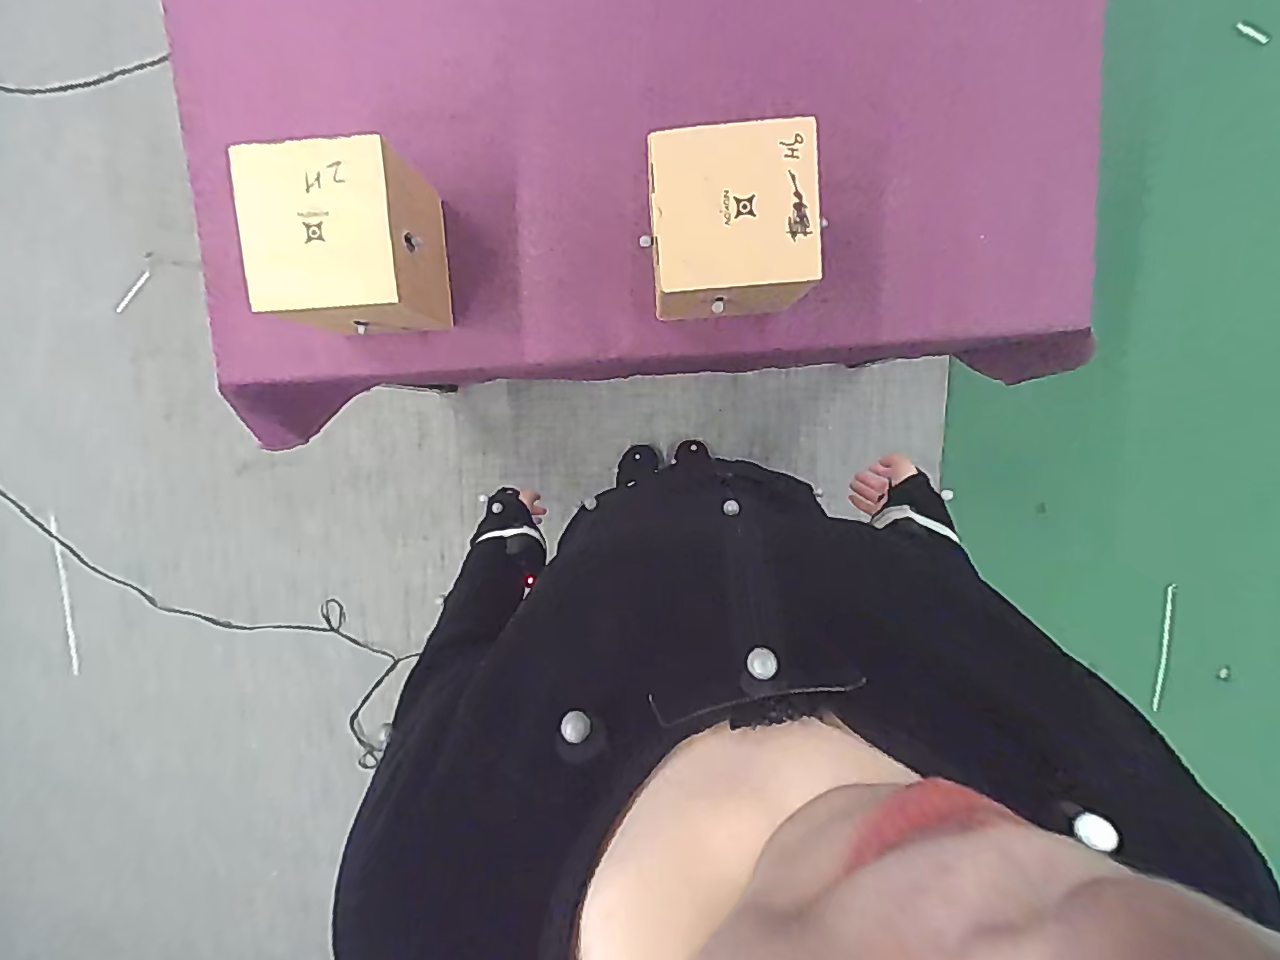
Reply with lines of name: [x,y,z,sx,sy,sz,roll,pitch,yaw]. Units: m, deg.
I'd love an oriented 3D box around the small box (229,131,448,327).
small box: [-0.347,-0.286,0.658,0.168,0.176,0.179,-3,96,1]

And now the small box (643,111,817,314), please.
small box: [0.100,-0.300,0.644,0.179,0.176,0.168,-4,97,3]
